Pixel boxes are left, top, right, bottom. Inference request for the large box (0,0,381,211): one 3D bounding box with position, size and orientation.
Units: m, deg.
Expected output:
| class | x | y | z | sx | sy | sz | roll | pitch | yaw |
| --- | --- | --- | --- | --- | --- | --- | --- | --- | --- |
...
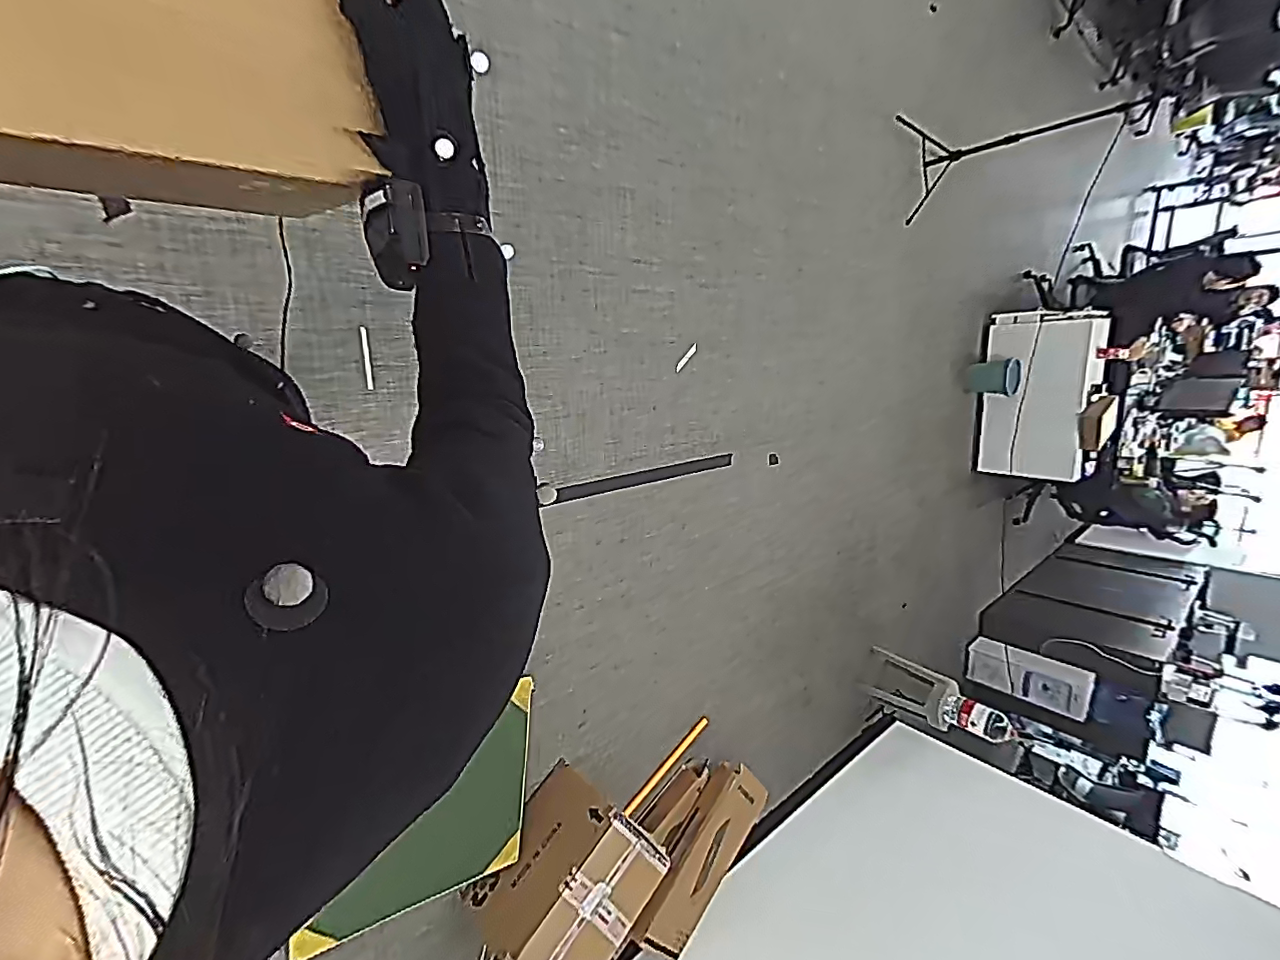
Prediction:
| class | x | y | z | sx | sy | sz | roll | pitch | yaw |
| --- | --- | --- | --- | --- | --- | --- | --- | --- | --- |
| large box | -0.438 | -0.374 | 0.345 | 0.408 | 0.320 | 0.320 | -13 | 116 | -39 |
